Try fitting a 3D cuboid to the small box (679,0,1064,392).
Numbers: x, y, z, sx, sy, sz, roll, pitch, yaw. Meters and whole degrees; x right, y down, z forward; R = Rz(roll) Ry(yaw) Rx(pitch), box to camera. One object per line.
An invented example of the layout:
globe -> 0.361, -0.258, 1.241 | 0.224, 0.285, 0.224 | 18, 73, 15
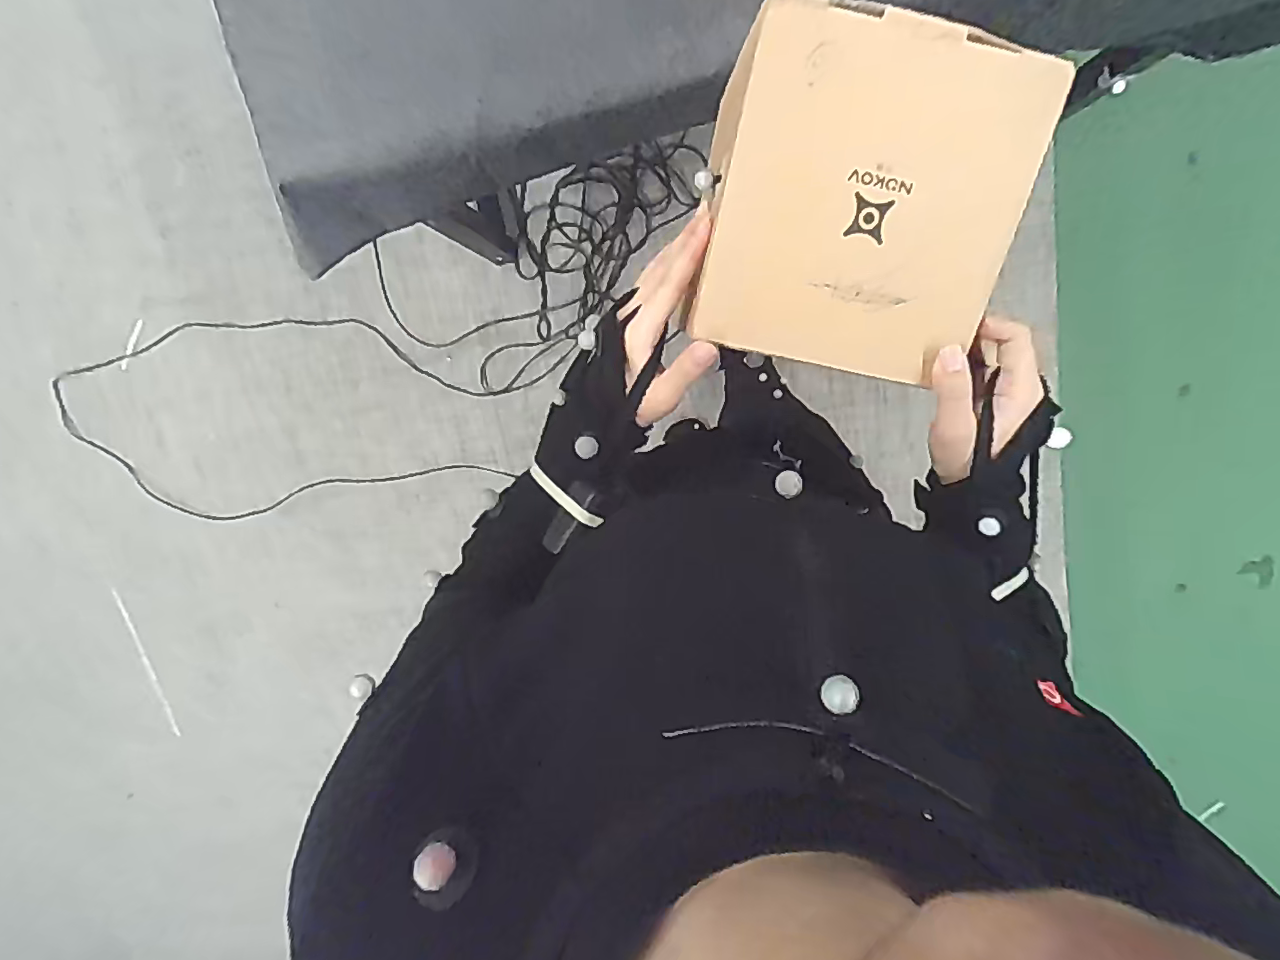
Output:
small box -> 0.126, -0.174, 0.378 | 0.168, 0.176, 0.179 | 11, 108, -4
